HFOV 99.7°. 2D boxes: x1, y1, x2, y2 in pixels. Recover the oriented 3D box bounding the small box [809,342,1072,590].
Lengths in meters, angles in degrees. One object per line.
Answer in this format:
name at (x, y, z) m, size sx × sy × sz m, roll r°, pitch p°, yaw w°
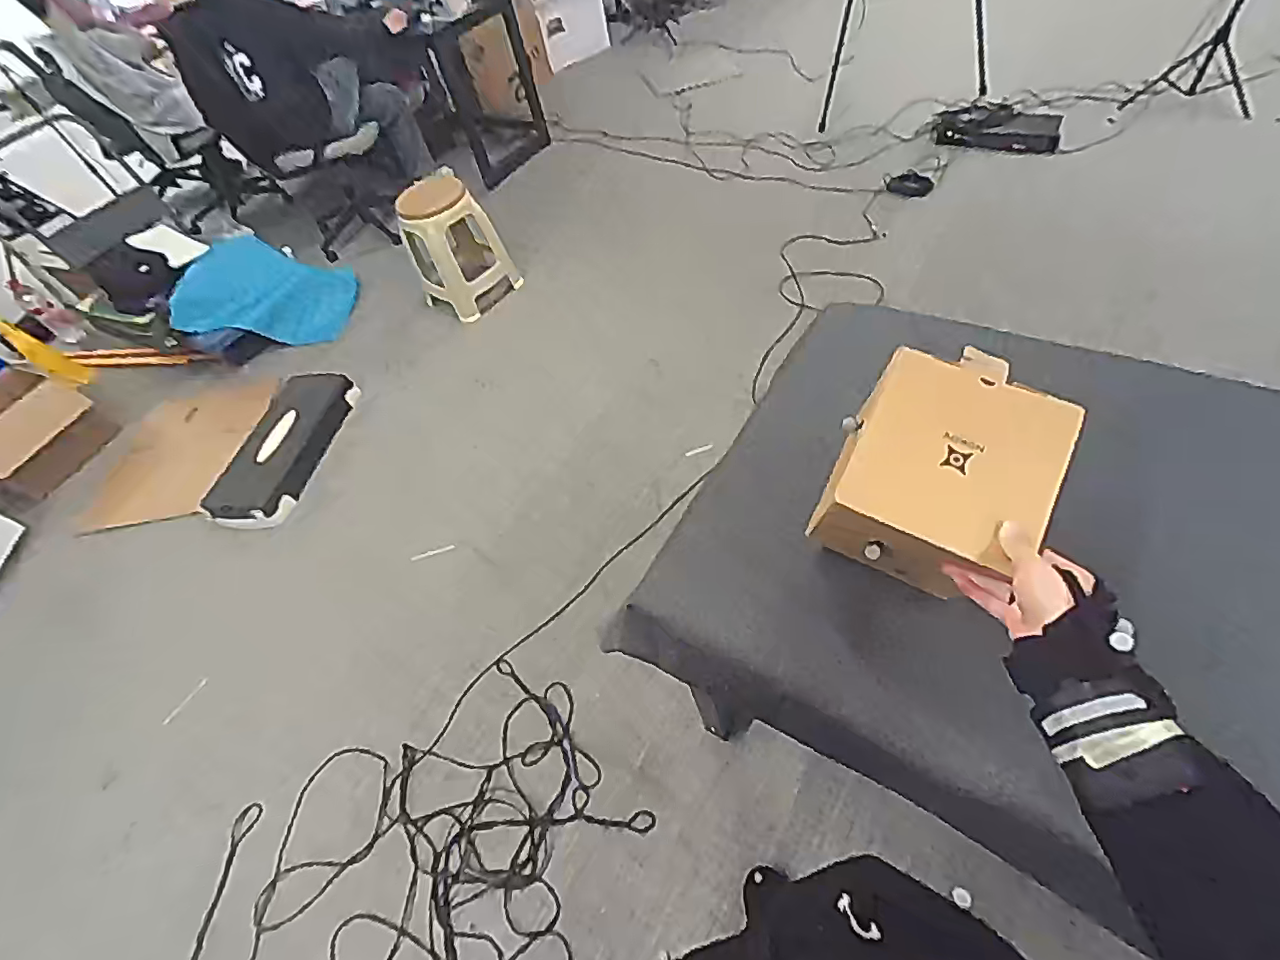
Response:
small box at (0.287, -0.004, 0.557) m, size 0.168 × 0.176 × 0.179 m, roll 24°, pitch 76°, yaw 16°
